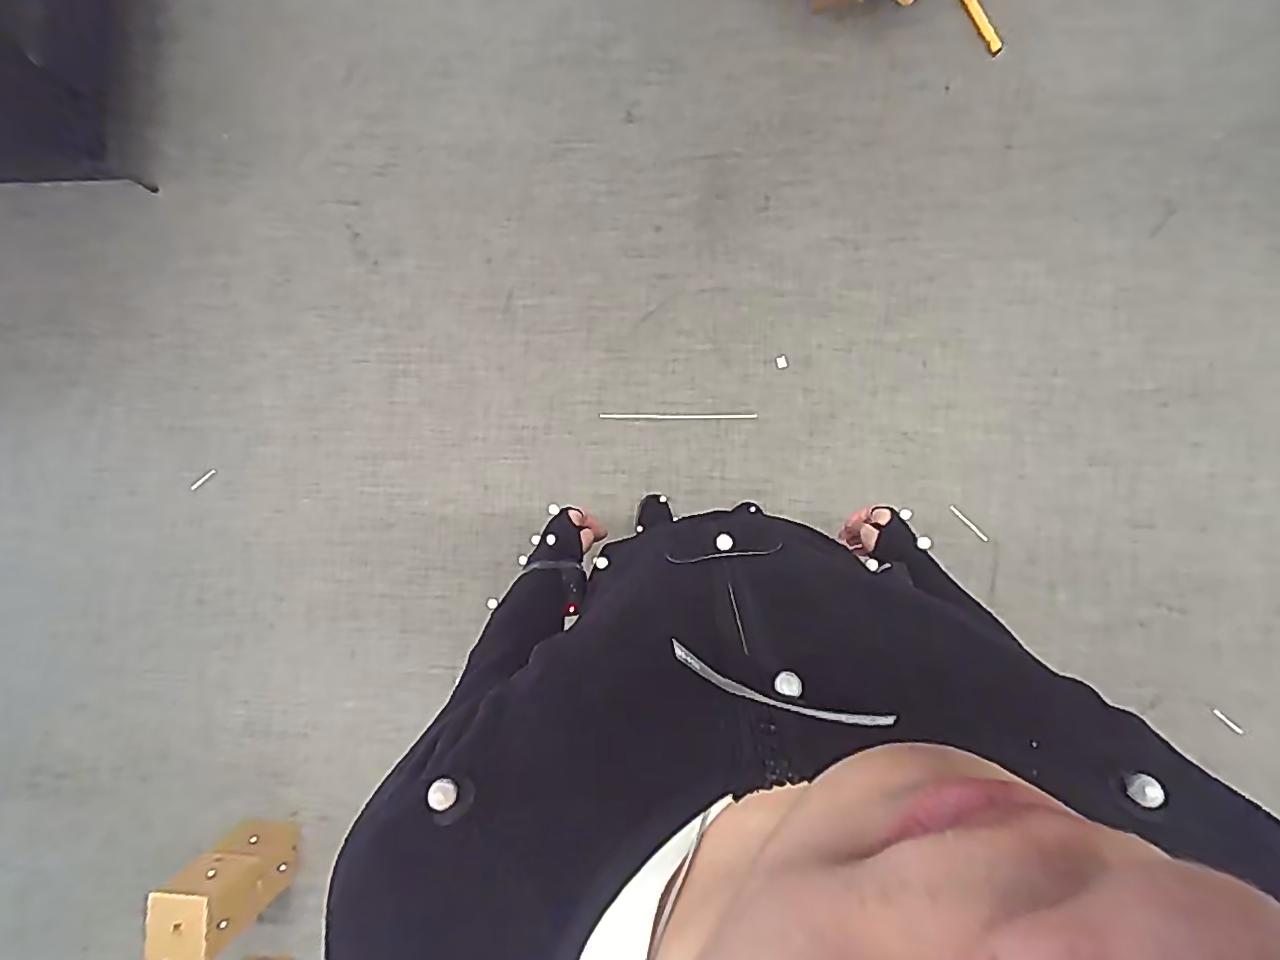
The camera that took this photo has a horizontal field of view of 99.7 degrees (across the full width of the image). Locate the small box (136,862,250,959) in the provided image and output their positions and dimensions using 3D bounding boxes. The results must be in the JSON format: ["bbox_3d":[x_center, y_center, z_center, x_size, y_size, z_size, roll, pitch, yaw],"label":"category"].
[{"bbox_3d":[-1.170,1.149,1.427,0.168,0.176,0.179,1,87,4],"label":"small box"}]

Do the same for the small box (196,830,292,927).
[{"bbox_3d":[-1.164,1.163,1.589,0.179,0.176,0.168,3,86,4],"label":"small box"}]
